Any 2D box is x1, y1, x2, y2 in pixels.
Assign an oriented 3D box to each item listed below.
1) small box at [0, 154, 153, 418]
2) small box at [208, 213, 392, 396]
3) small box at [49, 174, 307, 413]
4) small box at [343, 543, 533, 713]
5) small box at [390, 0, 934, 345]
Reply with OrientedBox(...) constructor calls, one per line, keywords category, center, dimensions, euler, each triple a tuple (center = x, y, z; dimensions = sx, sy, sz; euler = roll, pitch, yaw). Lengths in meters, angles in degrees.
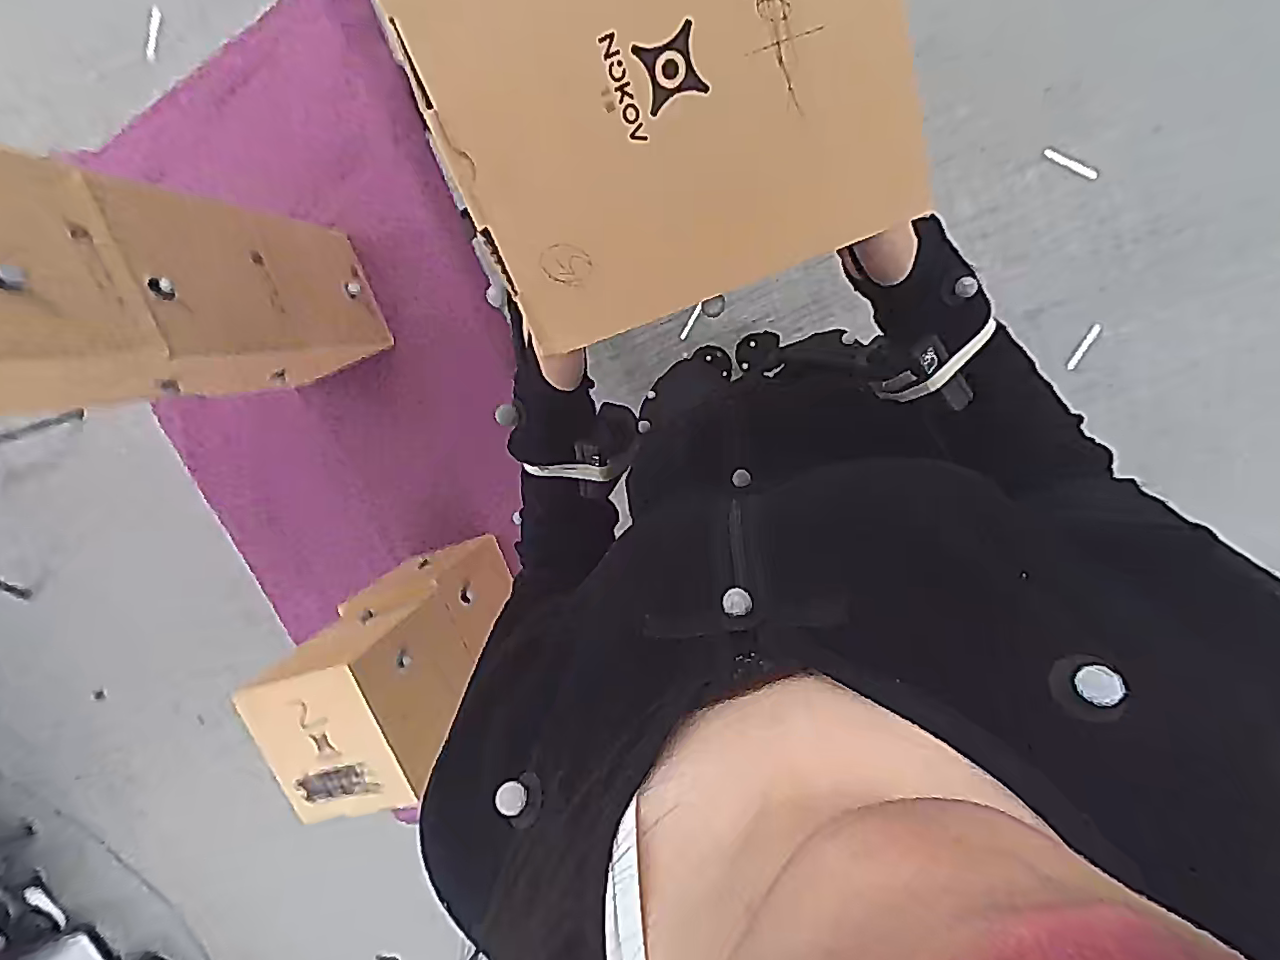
OrientedBox(category="small box", center=(-0.529, -0.141, 0.409), dimensions=(0.179, 0.176, 0.168), euler=(-16, 102, 16))
OrientedBox(category="small box", center=(-0.477, -0.223, 0.721), dimensions=(0.179, 0.176, 0.168), euler=(-18, 102, 15))
OrientedBox(category="small box", center=(-0.504, -0.181, 0.565), dimensions=(0.179, 0.176, 0.168), euler=(-16, 102, 16))
OrientedBox(category="small box", center=(-0.285, 0.207, 0.802), dimensions=(0.168, 0.176, 0.179), euler=(-17, 102, 16))
OrientedBox(category="small box", center=(0.012, -0.187, 0.270), dimensions=(0.179, 0.176, 0.168), euler=(-18, 115, 10))
